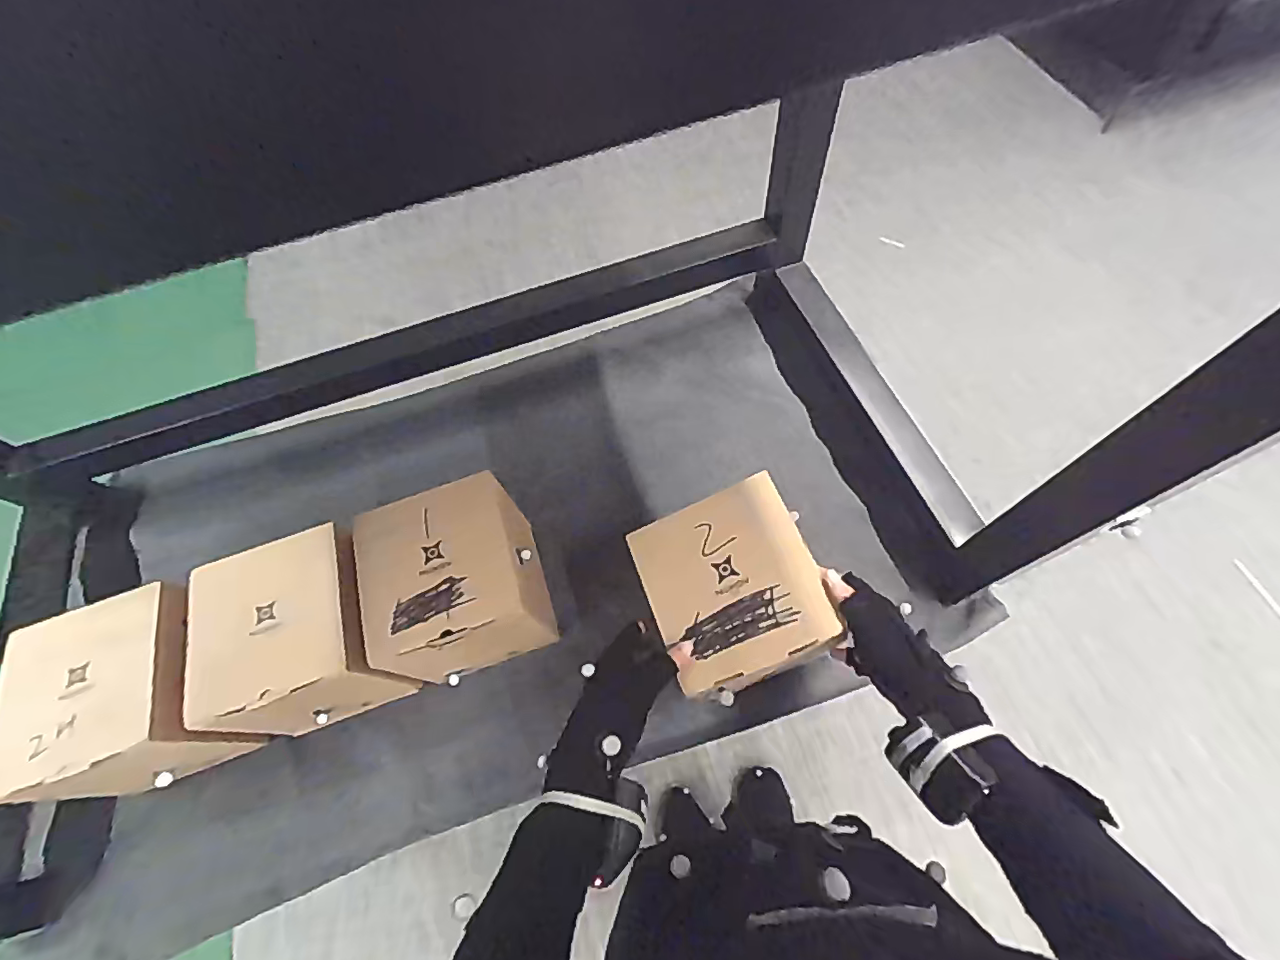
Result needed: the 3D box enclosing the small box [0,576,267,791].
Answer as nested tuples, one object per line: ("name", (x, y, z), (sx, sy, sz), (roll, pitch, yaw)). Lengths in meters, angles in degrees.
("small box", (-0.569, 0.239, 0.629), (0.168, 0.176, 0.179), (-20, 63, -4))
